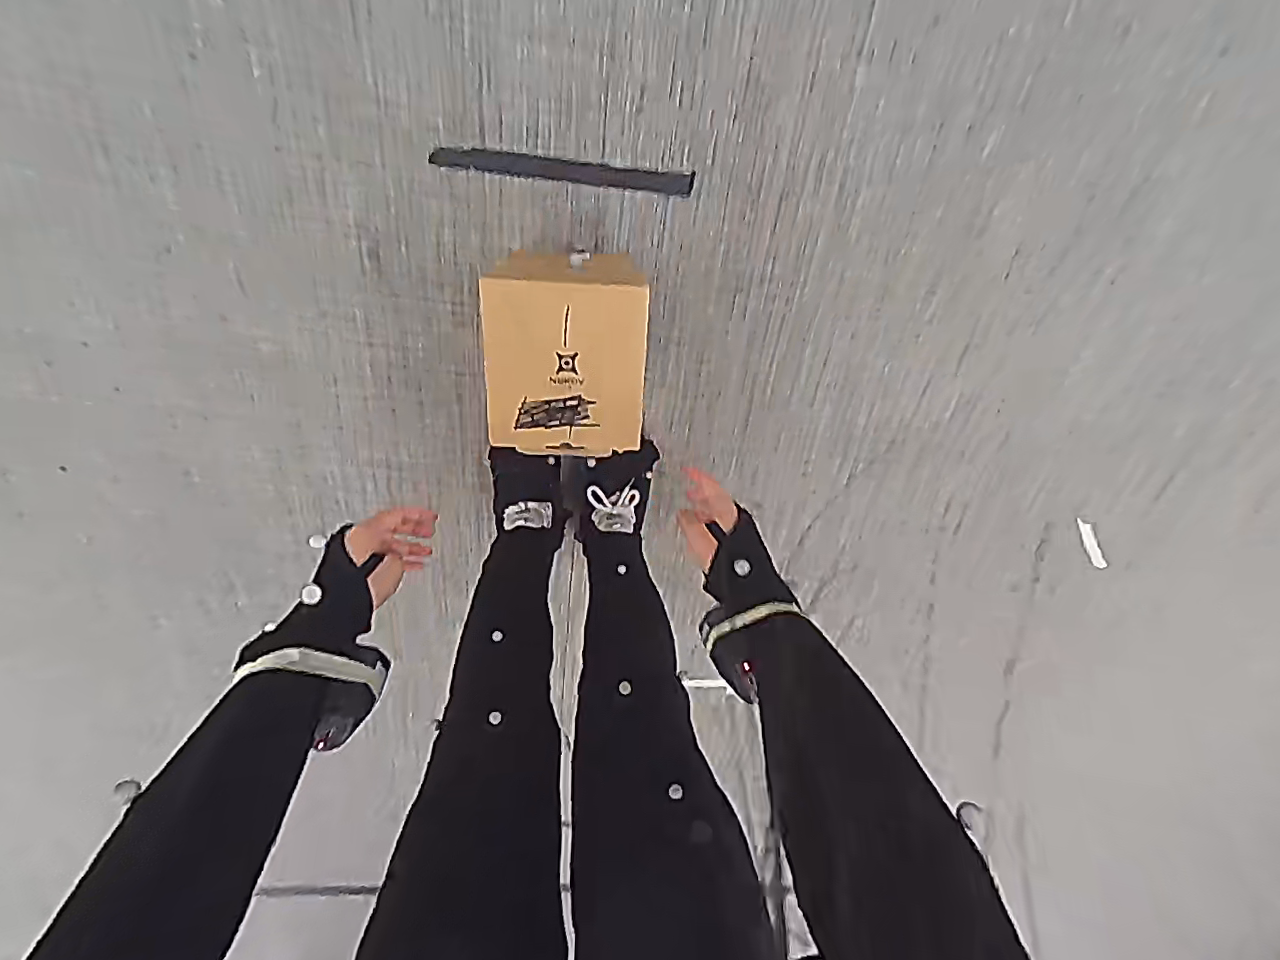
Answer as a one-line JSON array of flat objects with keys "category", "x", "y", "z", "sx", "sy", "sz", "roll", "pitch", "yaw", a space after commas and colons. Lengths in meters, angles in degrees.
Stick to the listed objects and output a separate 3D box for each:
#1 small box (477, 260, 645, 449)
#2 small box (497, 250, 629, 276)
[{"category": "small box", "x": -0.087, "y": -0.150, "z": 0.631, "sx": 0.168, "sy": 0.176, "sz": 0.179, "roll": 1, "pitch": 117, "yaw": -6}, {"category": "small box", "x": -0.105, "y": -0.227, "z": 0.776, "sx": 0.168, "sy": 0.176, "sz": 0.179, "roll": 0, "pitch": 116, "yaw": -6}]
